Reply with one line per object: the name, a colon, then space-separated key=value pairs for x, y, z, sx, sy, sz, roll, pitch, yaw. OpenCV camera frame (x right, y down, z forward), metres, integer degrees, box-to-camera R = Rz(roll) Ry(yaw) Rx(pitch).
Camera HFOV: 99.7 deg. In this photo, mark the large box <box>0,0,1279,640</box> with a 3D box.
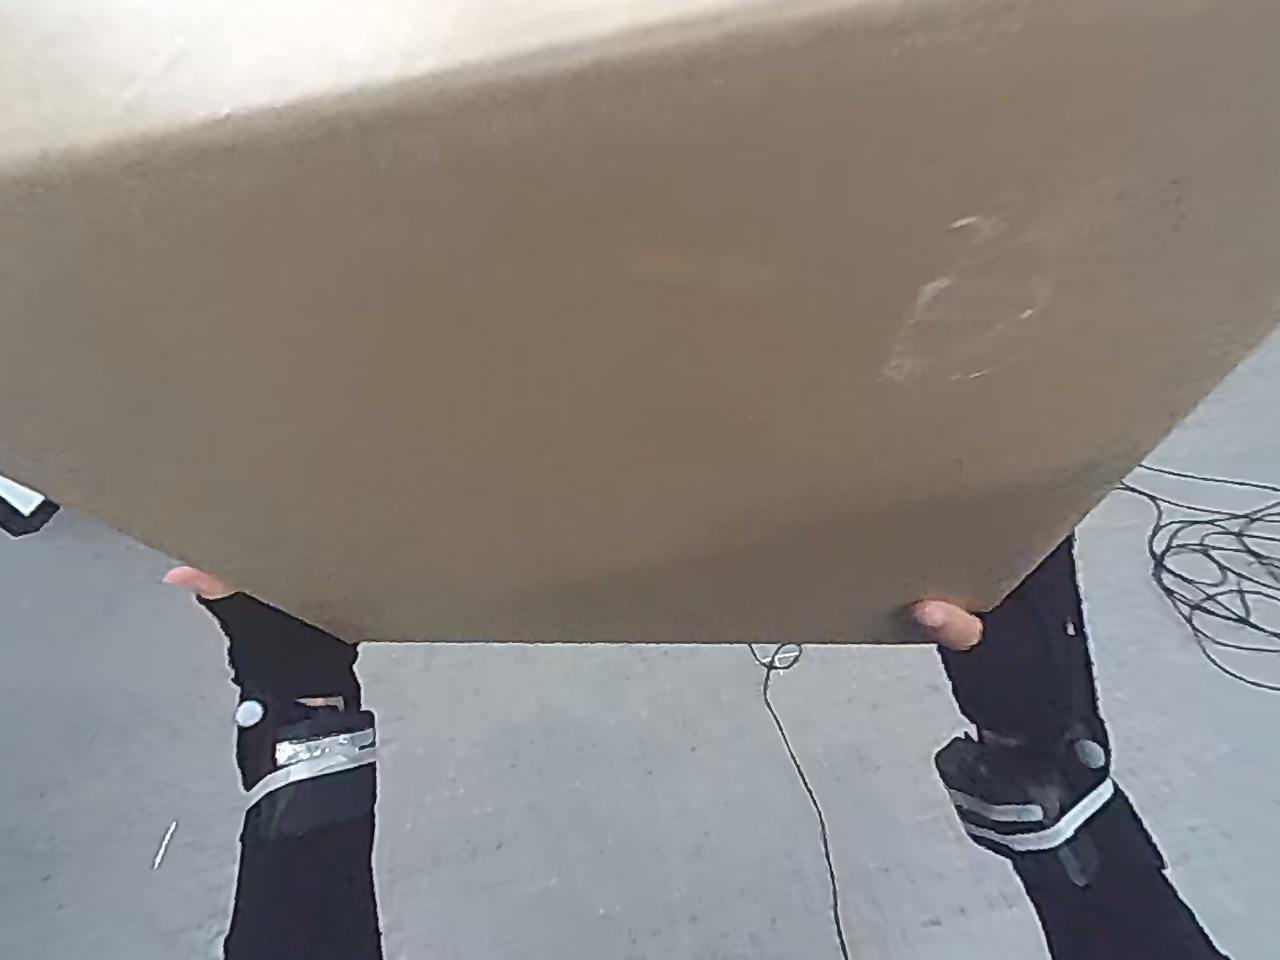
large box: x=-0.023 y=-0.108 z=0.314 sx=0.408 sy=0.320 sz=0.320 roll=-3 pitch=57 yaw=9
